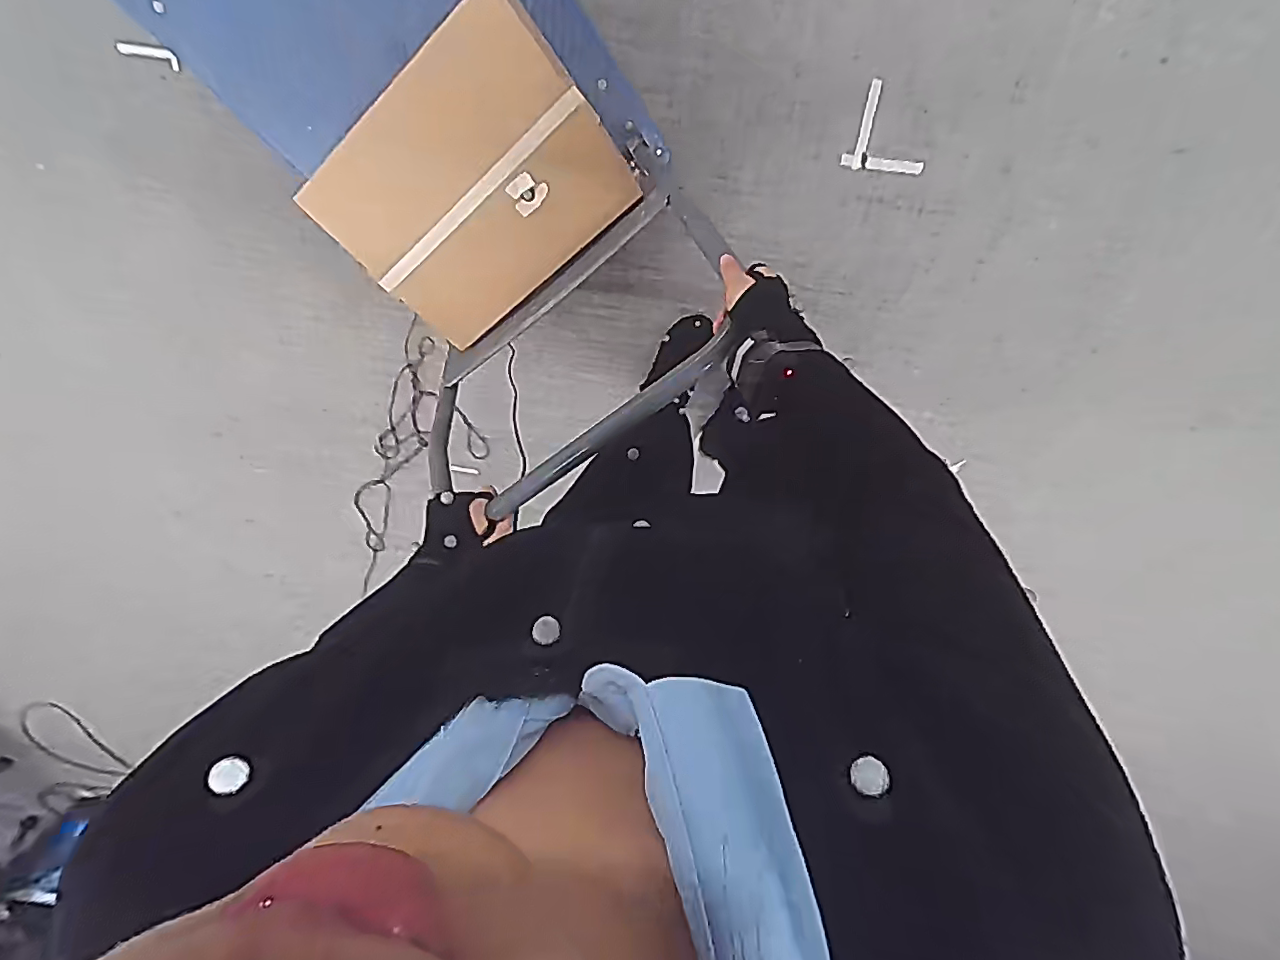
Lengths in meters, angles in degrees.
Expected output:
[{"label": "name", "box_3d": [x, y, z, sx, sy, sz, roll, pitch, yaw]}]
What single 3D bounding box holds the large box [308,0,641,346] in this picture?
[{"label": "large box", "box_3d": [-0.259, -0.516, 0.920, 0.408, 0.320, 0.320, -35, 126, 18]}]
